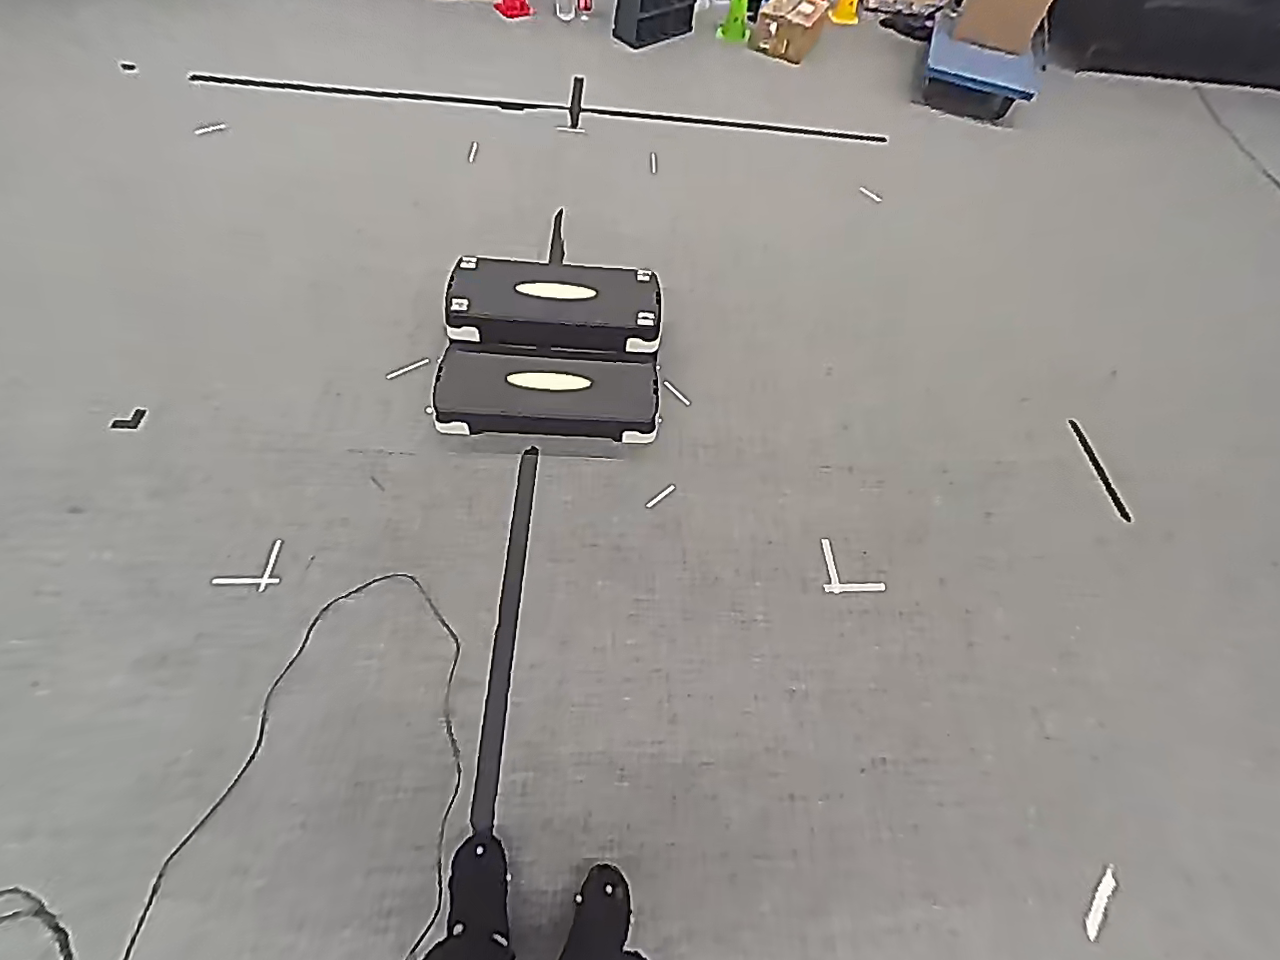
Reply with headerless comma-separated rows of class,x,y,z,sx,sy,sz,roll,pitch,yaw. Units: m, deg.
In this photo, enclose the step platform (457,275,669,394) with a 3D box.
step platform,-0.244,-0.484,1.794,0.684,0.204,0.286,7,57,-3
